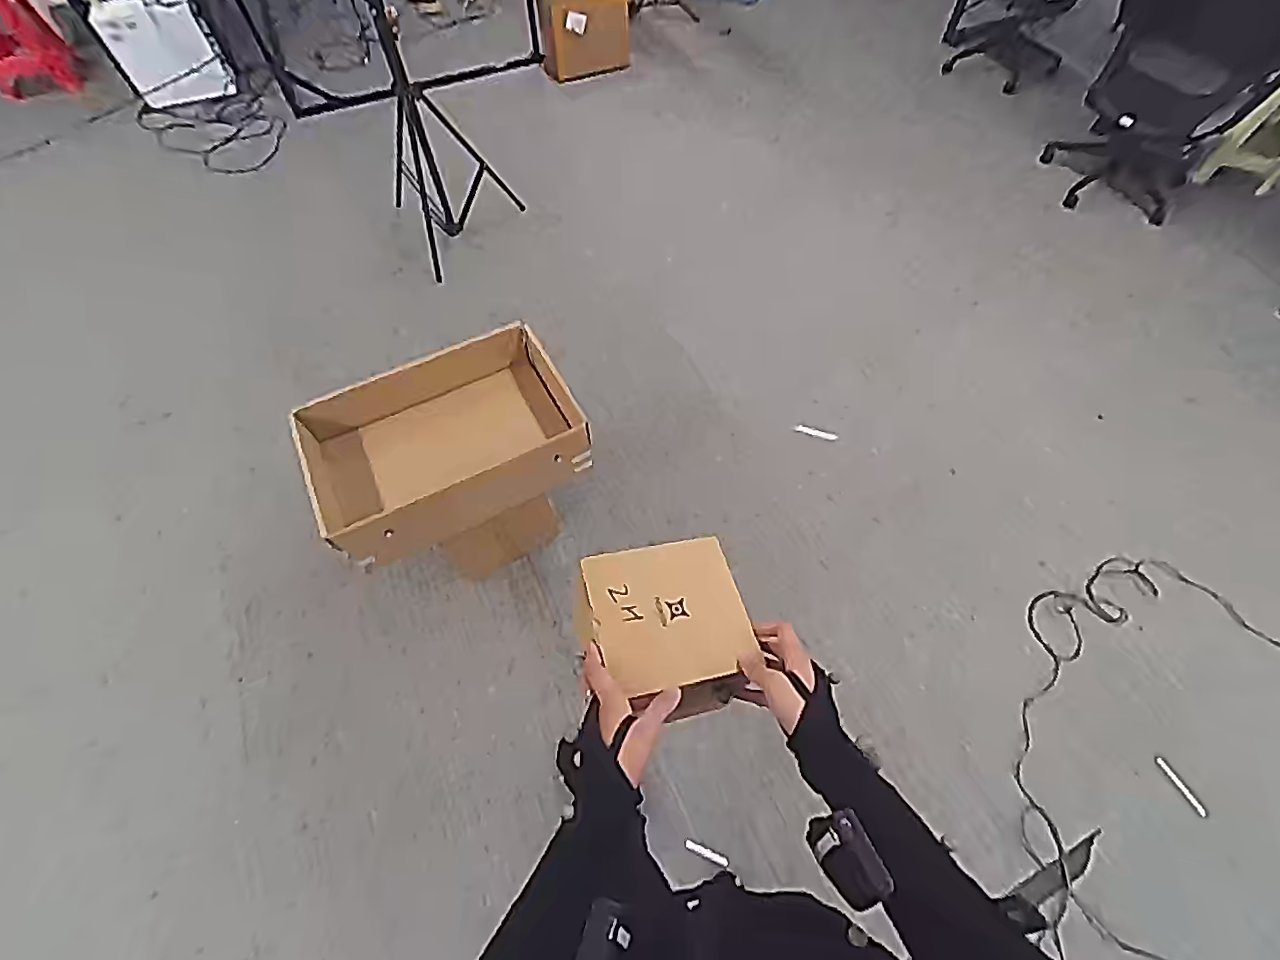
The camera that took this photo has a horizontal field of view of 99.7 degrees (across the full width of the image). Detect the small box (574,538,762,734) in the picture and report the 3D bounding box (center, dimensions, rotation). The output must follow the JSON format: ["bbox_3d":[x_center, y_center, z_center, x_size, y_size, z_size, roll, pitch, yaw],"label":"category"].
[{"bbox_3d":[0.020,0.192,0.663,0.179,0.176,0.168,-8,55,-14],"label":"small box"}]
